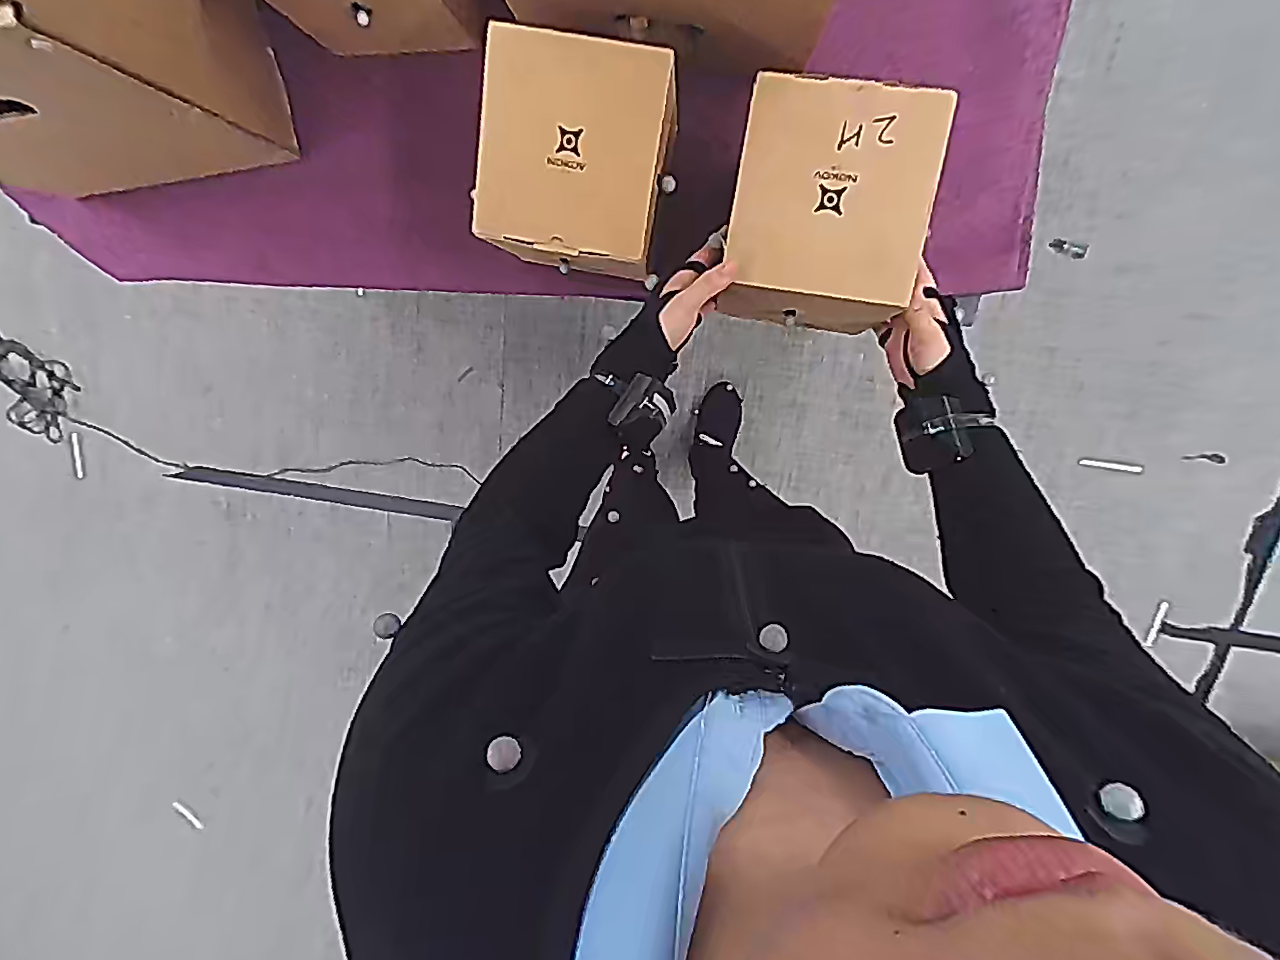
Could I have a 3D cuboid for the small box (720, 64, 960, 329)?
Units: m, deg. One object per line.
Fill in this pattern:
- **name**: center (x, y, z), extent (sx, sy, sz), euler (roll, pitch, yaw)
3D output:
- **small box**: center (0.176, -0.258, 0.534), extent (0.168, 0.176, 0.179), euler (11, 96, 6)
